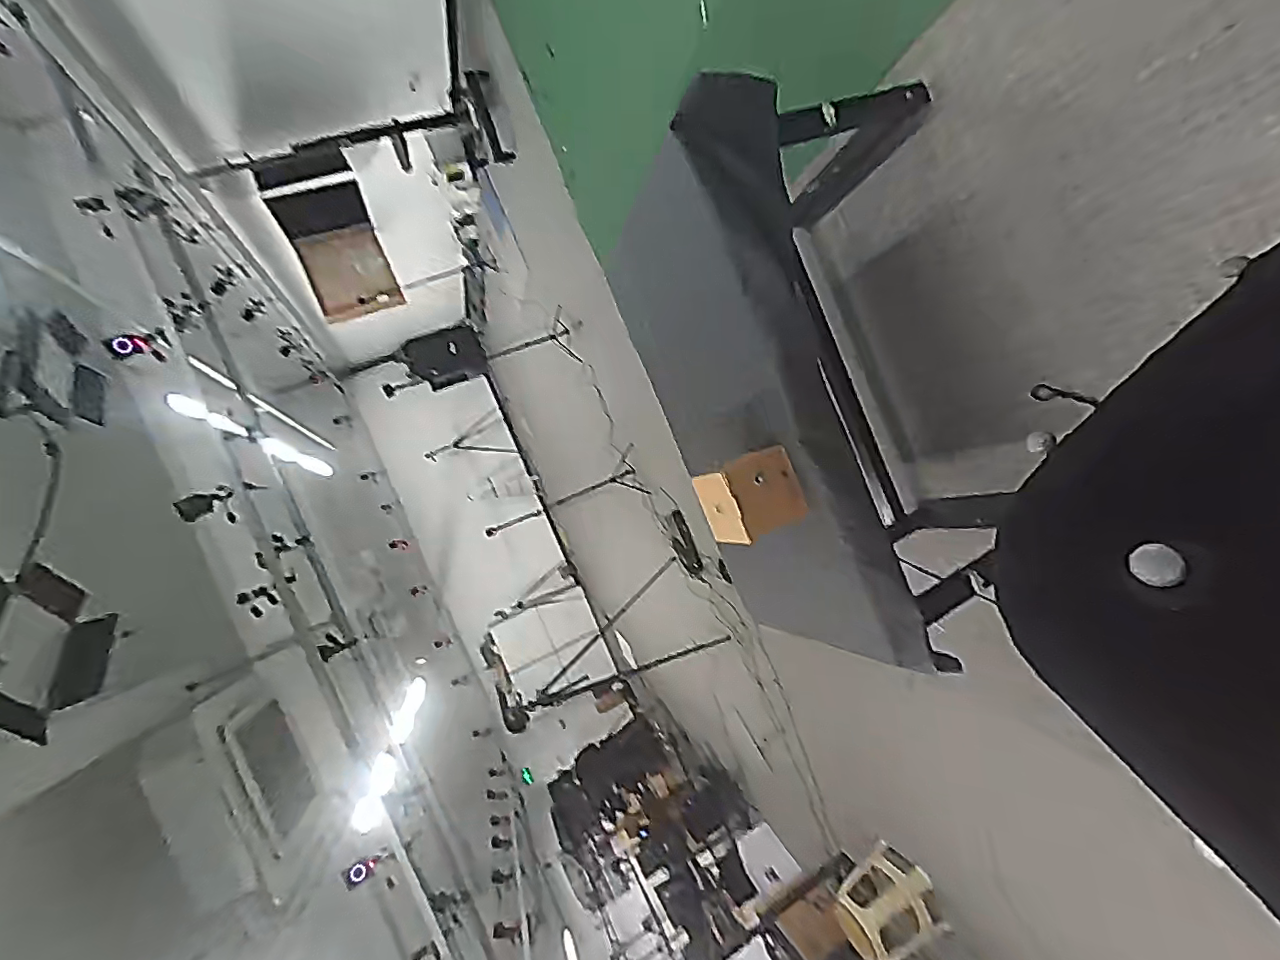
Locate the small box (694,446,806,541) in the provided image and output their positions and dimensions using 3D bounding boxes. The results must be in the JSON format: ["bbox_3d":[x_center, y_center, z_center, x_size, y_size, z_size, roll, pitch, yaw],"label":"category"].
[{"bbox_3d":[0.255,0.031,1.236,0.168,0.176,0.179,68,164,-2],"label":"small box"}]
